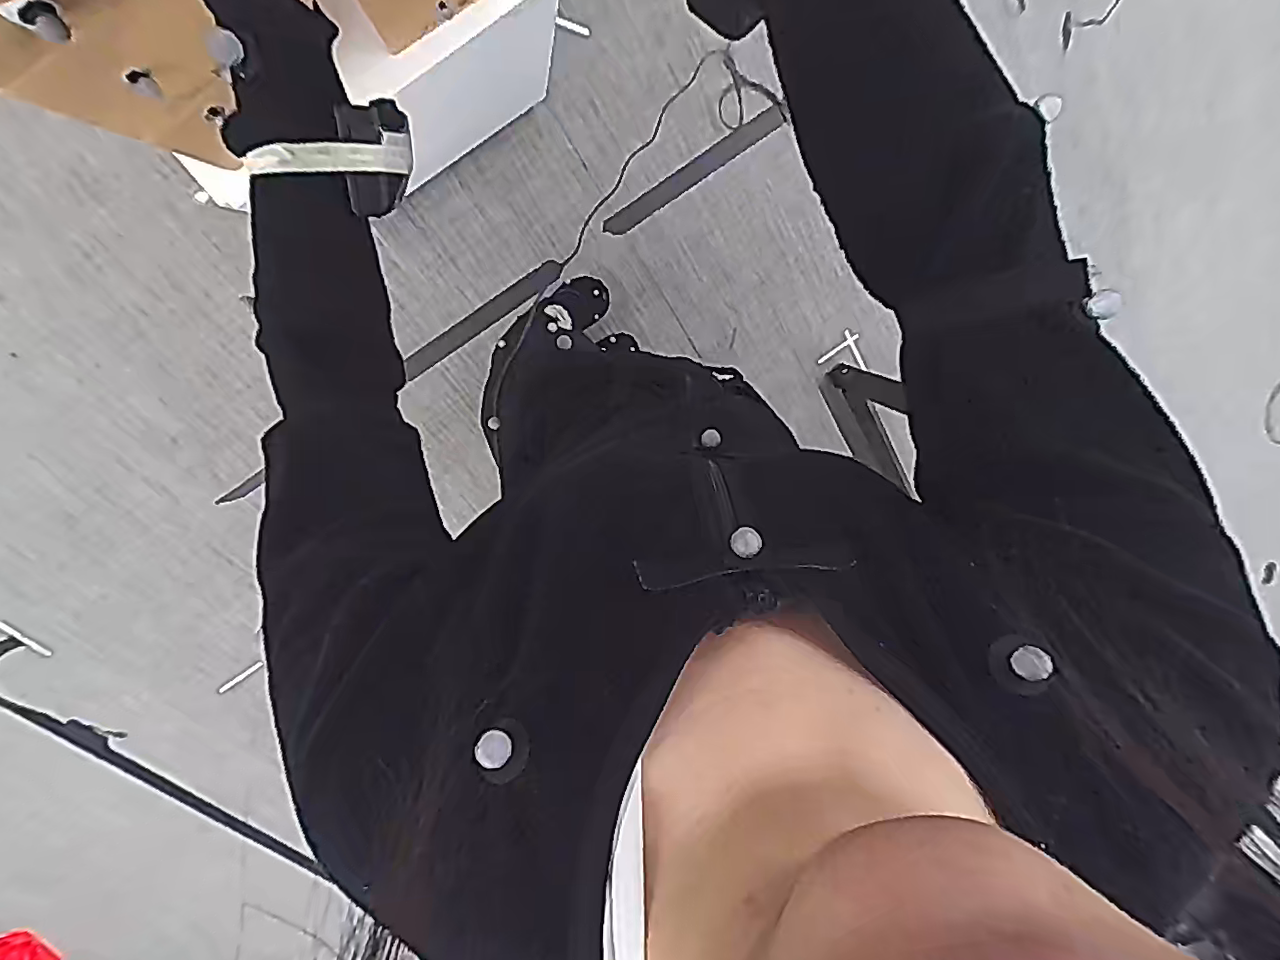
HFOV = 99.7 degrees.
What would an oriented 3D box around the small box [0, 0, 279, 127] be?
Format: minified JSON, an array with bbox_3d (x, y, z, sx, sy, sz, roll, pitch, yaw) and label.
[{"bbox_3d":[-0.422,-0.398,0.401,0.168,0.176,0.179,-35,114,3],"label":"small box"}]

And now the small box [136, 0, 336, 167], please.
[{"bbox_3d":[-0.456,-0.457,0.549,0.168,0.176,0.179,-34,113,2],"label":"small box"}]
